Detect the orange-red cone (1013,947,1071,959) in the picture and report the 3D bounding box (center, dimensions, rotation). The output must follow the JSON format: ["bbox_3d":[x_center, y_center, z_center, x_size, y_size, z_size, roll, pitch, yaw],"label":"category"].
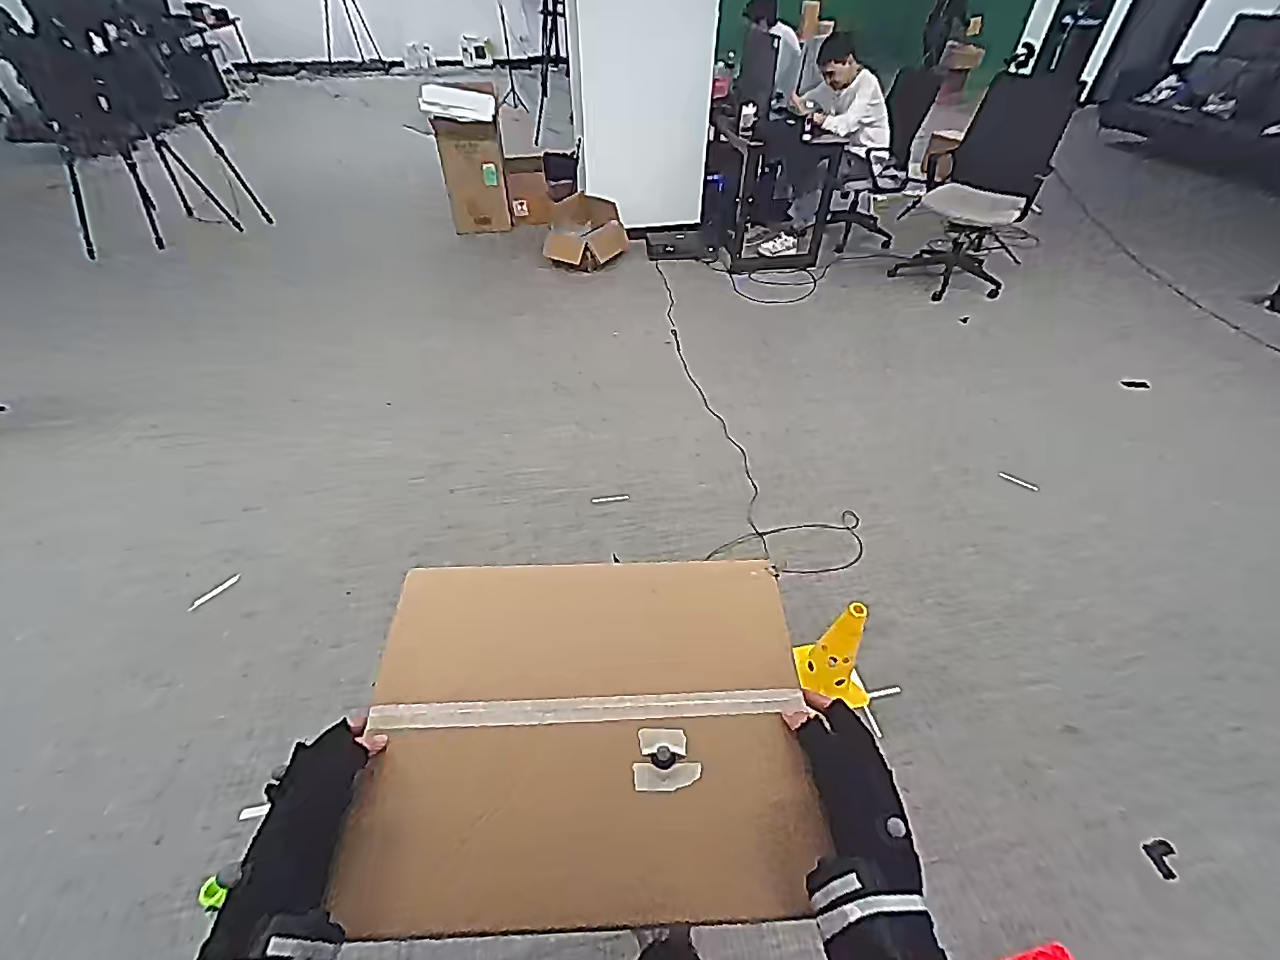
[{"bbox_3d":[0.808,0.923,0.927,0.198,0.360,0.199,-7,43,-9],"label":"orange-red cone"}]

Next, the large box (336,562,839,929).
[{"bbox_3d":[-0.048,0.311,0.629,0.408,0.320,0.320,0,51,-2],"label":"large box"}]

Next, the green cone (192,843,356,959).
[{"bbox_3d":[-0.721,0.809,1.033,0.200,0.368,0.202,33,54,30],"label":"green cone"}]
